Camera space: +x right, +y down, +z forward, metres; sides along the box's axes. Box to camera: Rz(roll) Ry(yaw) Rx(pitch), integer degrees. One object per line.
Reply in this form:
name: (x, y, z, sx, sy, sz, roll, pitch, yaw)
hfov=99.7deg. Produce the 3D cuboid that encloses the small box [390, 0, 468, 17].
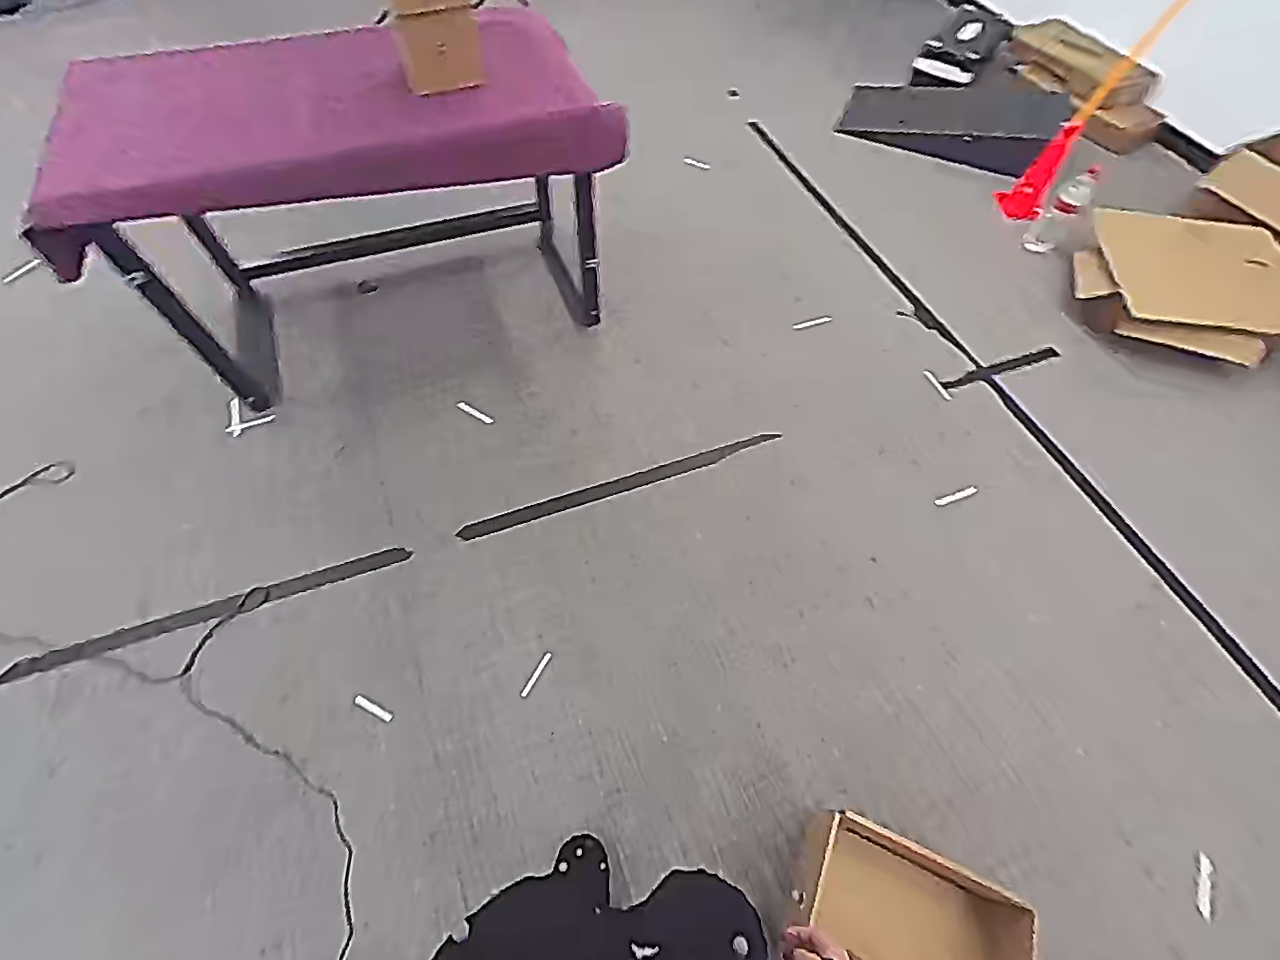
small box: (-0.489, -1.164, 1.190, 0.179, 0.176, 0.168, -22, 63, -14)

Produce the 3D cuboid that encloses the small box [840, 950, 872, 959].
small box: (0.457, 0.999, 0.973, 0.179, 0.176, 0.168, 26, 62, 12)
